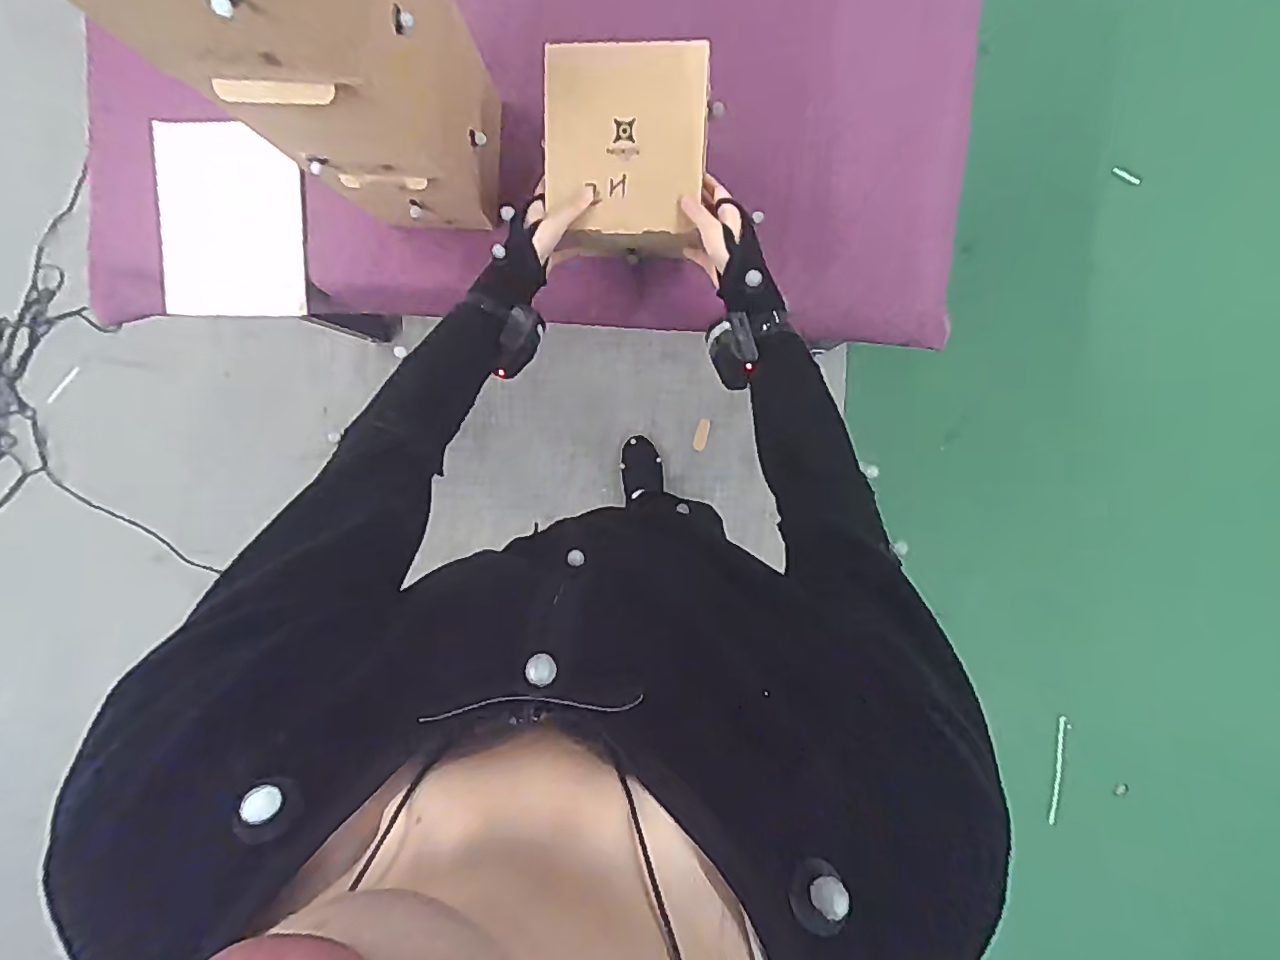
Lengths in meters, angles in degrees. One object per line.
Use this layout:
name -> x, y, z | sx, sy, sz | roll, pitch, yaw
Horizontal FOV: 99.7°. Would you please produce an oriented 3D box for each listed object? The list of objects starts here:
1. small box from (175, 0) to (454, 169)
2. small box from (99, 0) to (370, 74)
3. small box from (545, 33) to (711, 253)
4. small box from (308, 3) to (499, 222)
small box -> -0.286, -0.421, 0.508 | 0.168, 0.176, 0.179 | 4, 94, 2
small box -> -0.292, -0.404, 0.346 | 0.168, 0.176, 0.179 | 5, 94, 1
small box -> -0.008, -0.375, 0.631 | 0.168, 0.176, 0.179 | 4, 105, 6
small box -> -0.281, -0.440, 0.672 | 0.168, 0.176, 0.179 | 4, 95, 1
